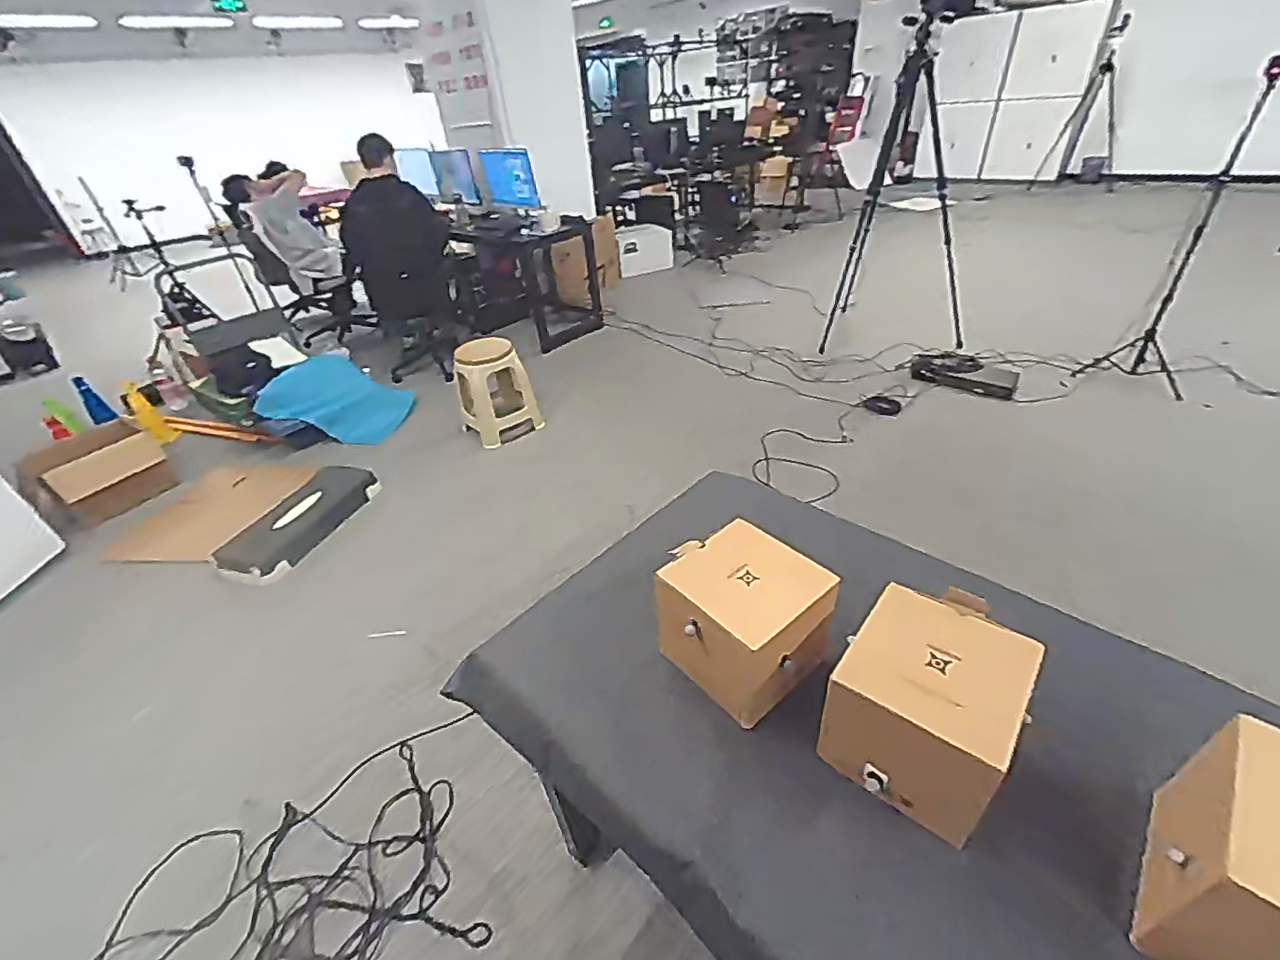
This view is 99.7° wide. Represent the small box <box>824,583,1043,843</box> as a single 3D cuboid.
[{"bbox_3d":[0.326,0.259,0.622,0.168,0.176,0.179,22,43,35],"label":"small box"}]

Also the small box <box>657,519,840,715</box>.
[{"bbox_3d":[0.144,0.190,0.744,0.168,0.176,0.179,-28,41,-29],"label":"small box"}]
